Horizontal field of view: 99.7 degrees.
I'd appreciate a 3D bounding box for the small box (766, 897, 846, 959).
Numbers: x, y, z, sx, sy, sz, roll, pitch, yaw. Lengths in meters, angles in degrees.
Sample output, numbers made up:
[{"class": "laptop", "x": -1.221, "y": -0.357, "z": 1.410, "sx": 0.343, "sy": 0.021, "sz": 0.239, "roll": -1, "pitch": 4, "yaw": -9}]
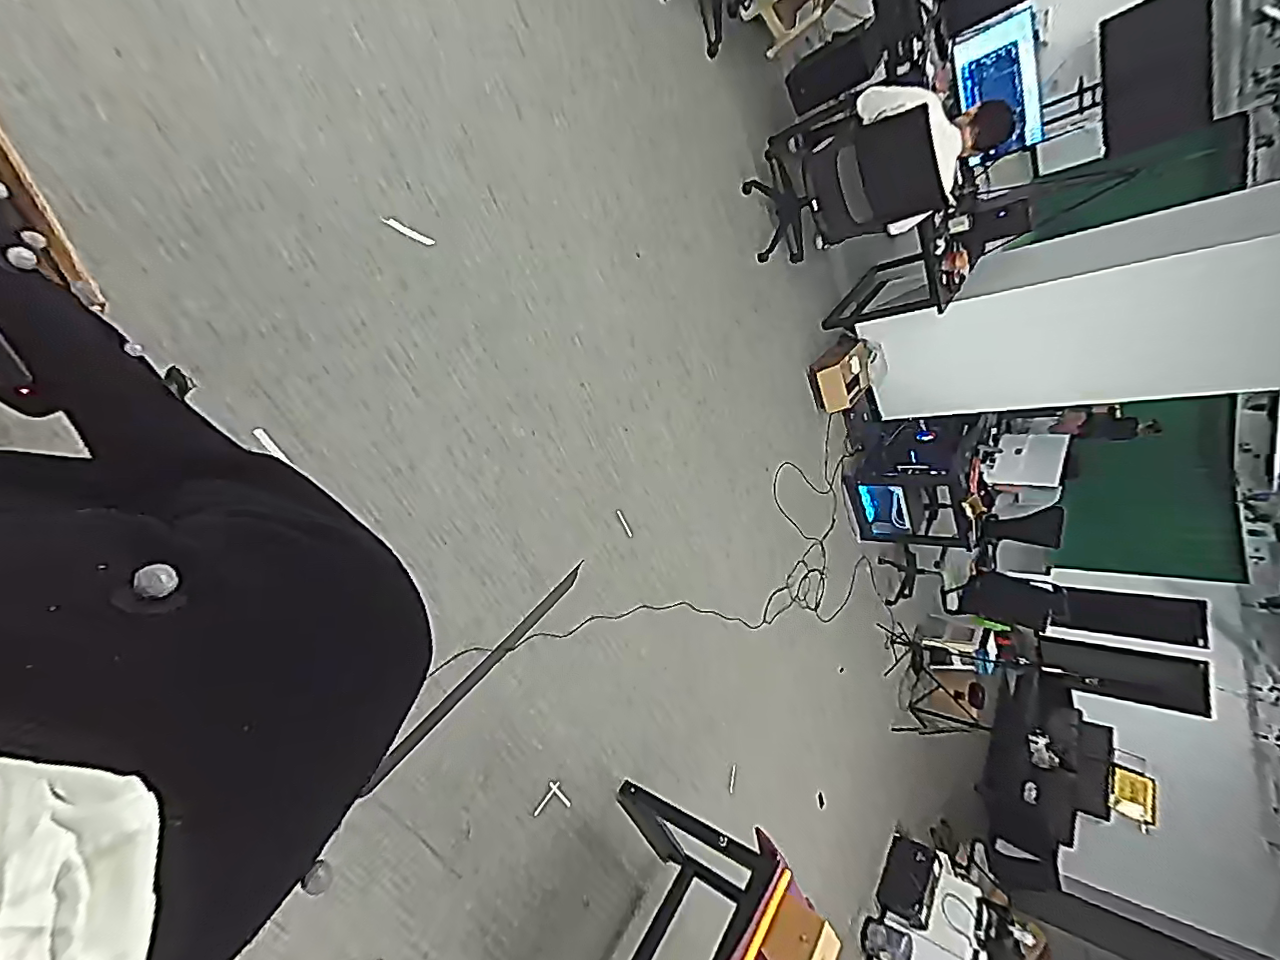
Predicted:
[{"class": "small box", "x": 0.521, "y": 1.487, "z": 1.712, "sx": 0.179, "sy": 0.176, "sz": 0.168, "roll": -46, "pitch": 120, "yaw": -34}]
